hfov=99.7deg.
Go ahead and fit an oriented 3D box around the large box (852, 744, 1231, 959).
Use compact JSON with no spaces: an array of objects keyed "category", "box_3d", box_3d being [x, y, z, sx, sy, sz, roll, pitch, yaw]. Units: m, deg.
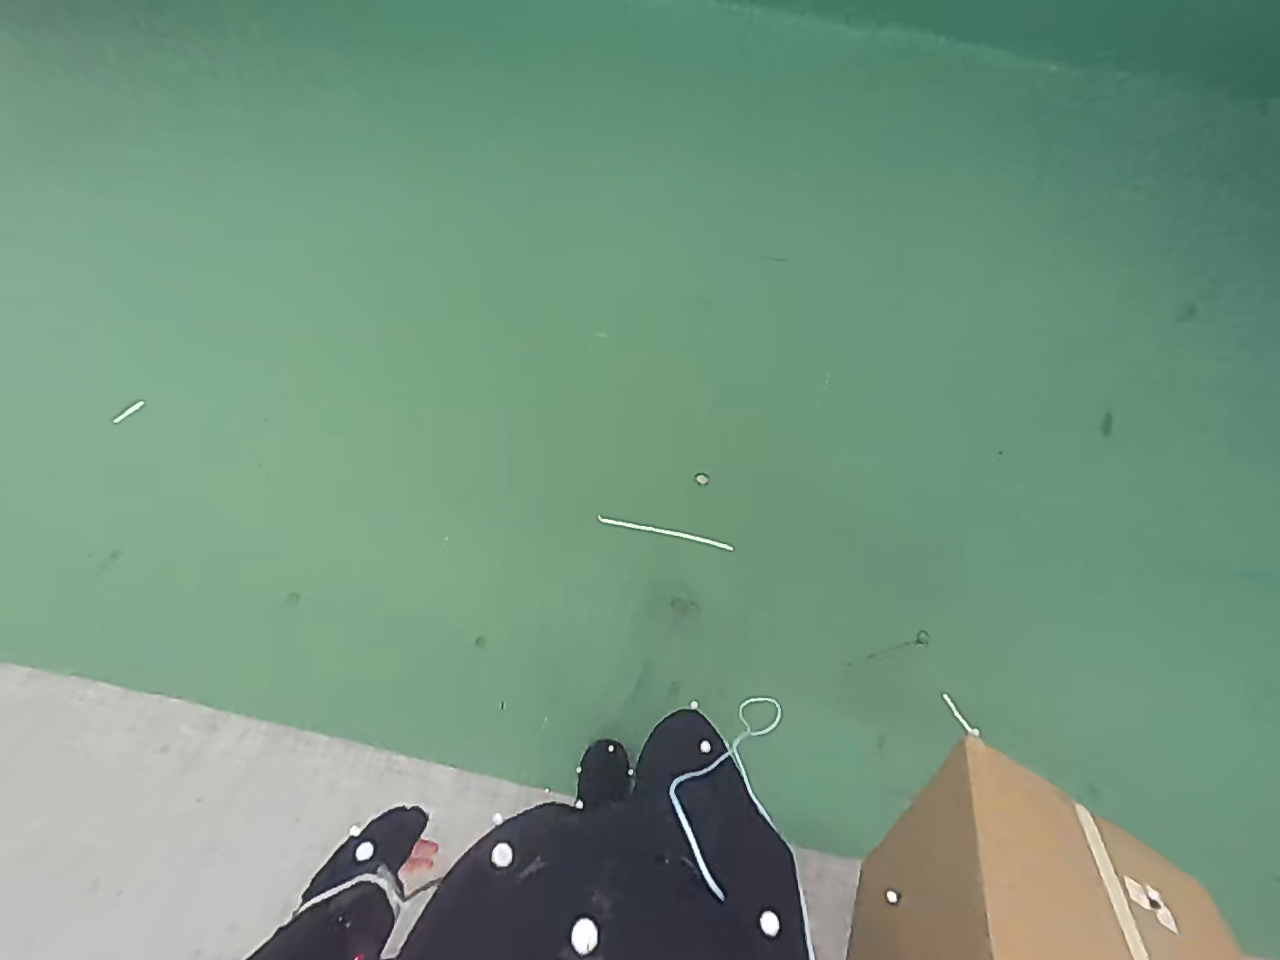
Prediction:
[{"category":"large box","box_3d":[0.464,0.623,0.640,0.320,0.408,0.320,33,108,21]}]
